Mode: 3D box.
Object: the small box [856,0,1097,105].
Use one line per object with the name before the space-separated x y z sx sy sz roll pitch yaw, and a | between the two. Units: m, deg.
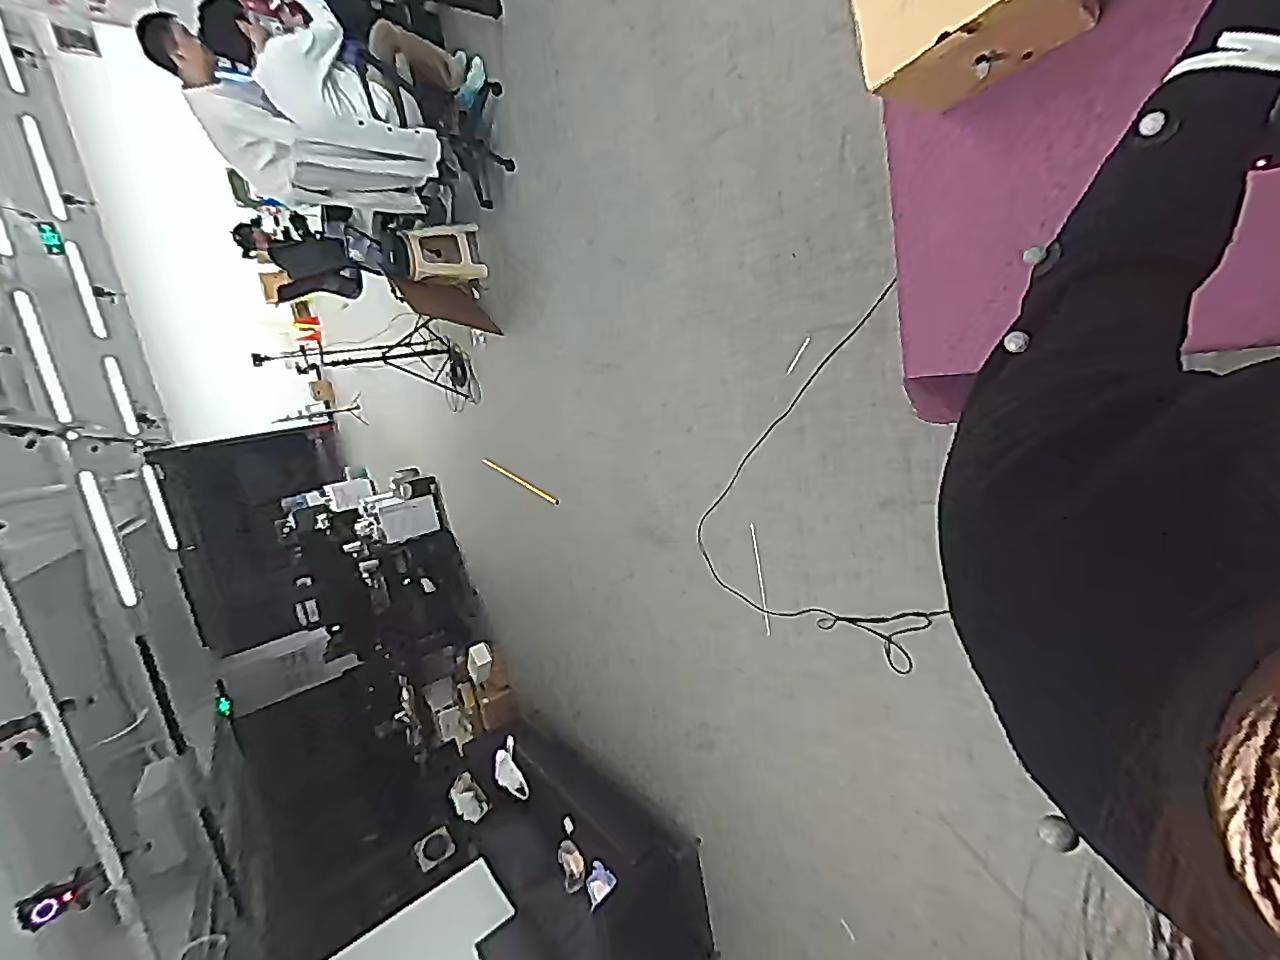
small box | 0.349 -0.530 0.569 0.168 0.176 0.179 -3 102 54
